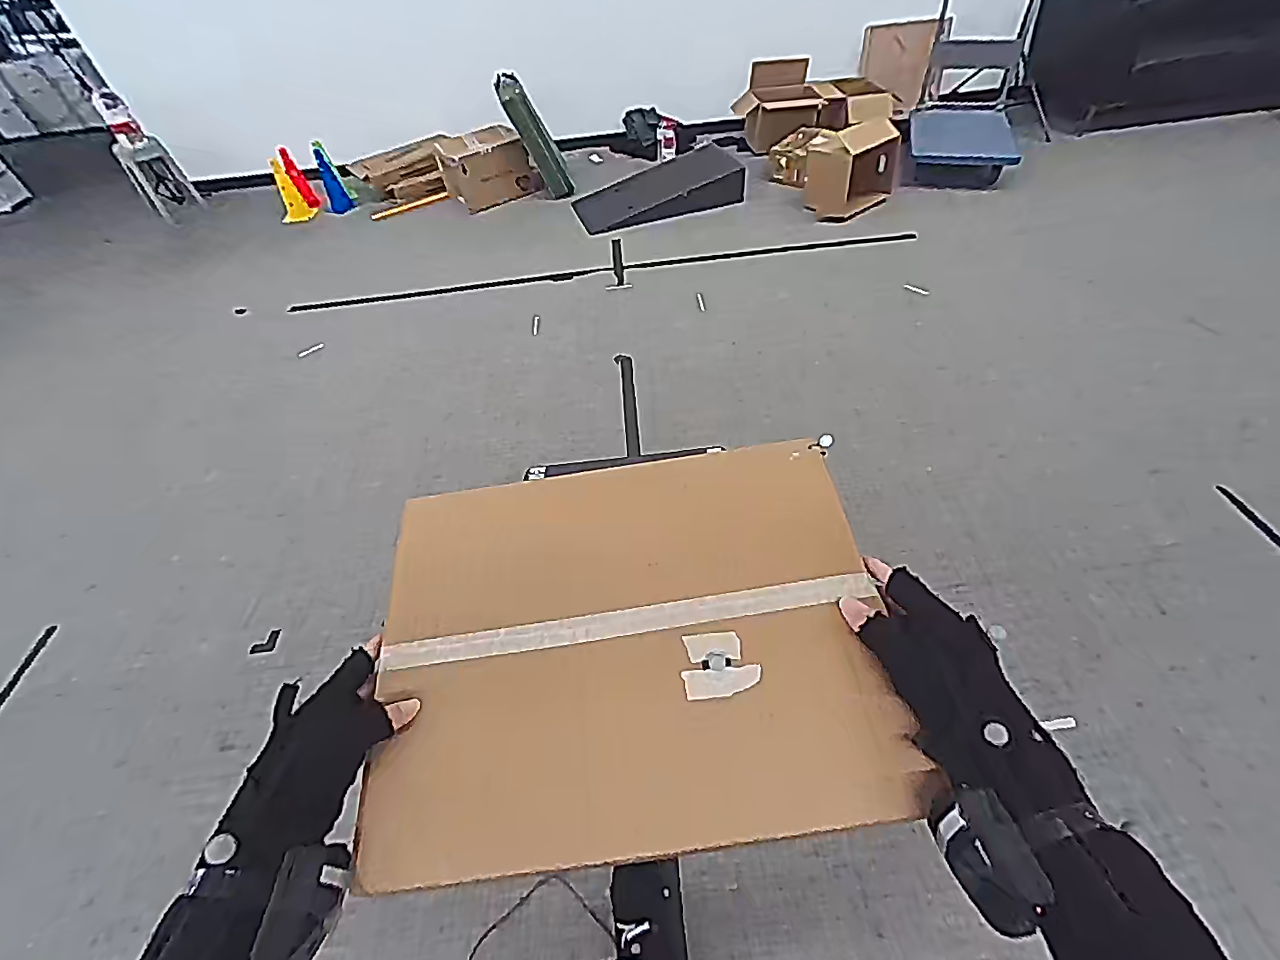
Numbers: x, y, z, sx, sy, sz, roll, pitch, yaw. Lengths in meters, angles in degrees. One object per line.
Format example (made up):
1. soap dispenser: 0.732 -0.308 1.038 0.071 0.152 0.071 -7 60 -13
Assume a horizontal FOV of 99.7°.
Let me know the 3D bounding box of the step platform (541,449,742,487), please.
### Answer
1. step platform: 0.024 0.091 1.707 0.684 0.204 0.286 -7 49 -1

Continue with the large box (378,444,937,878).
1. large box: 0.006 0.203 0.578 0.408 0.320 0.320 -9 56 1
